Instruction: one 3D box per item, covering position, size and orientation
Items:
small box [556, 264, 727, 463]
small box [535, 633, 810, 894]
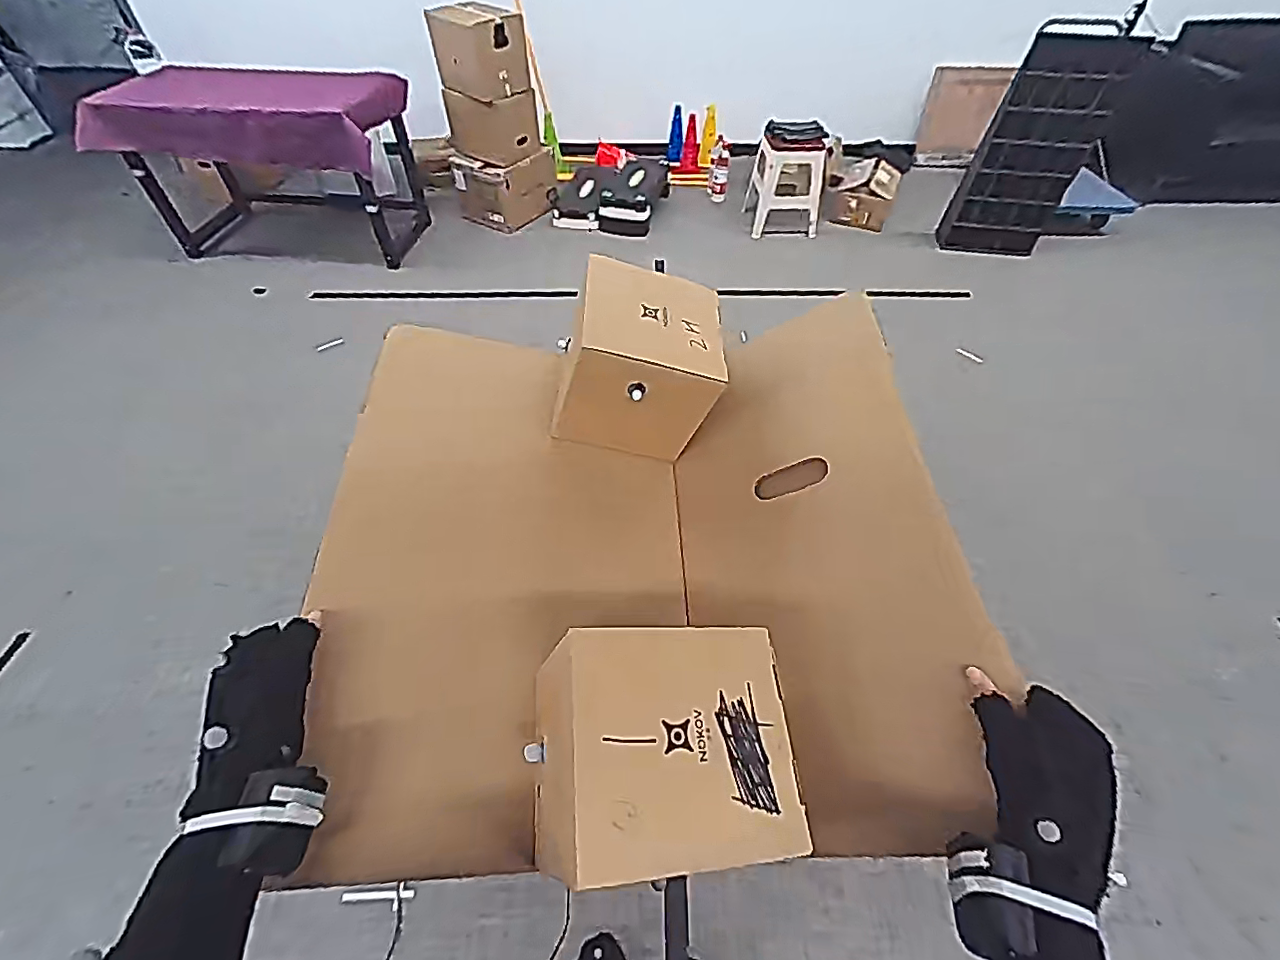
[{"bbox_3d":[-0.005,-0.142,0.705,0.179,0.176,0.168,12,55,-15],"label":"small box"},{"bbox_3d":[0.012,0.237,0.468,0.179,0.176,0.168,5,58,-18],"label":"small box"}]
